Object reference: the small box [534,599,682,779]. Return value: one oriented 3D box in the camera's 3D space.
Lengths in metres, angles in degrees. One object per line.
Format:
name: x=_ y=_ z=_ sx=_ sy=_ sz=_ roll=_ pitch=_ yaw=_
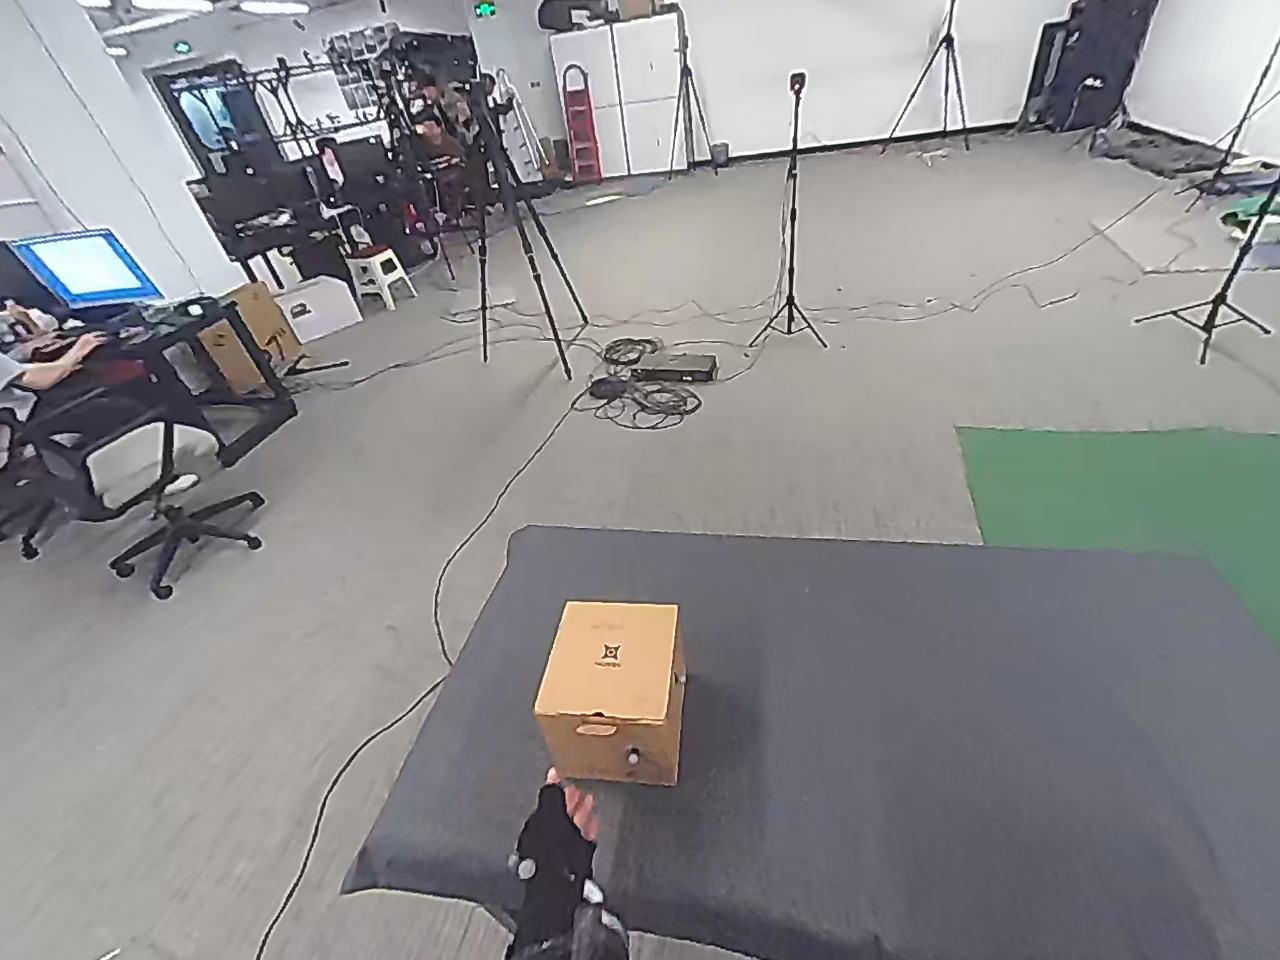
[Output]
small box: x=-0.030 y=0.290 z=0.756 sx=0.168 sy=0.176 sz=0.179 roll=0 pitch=37 yaw=9
